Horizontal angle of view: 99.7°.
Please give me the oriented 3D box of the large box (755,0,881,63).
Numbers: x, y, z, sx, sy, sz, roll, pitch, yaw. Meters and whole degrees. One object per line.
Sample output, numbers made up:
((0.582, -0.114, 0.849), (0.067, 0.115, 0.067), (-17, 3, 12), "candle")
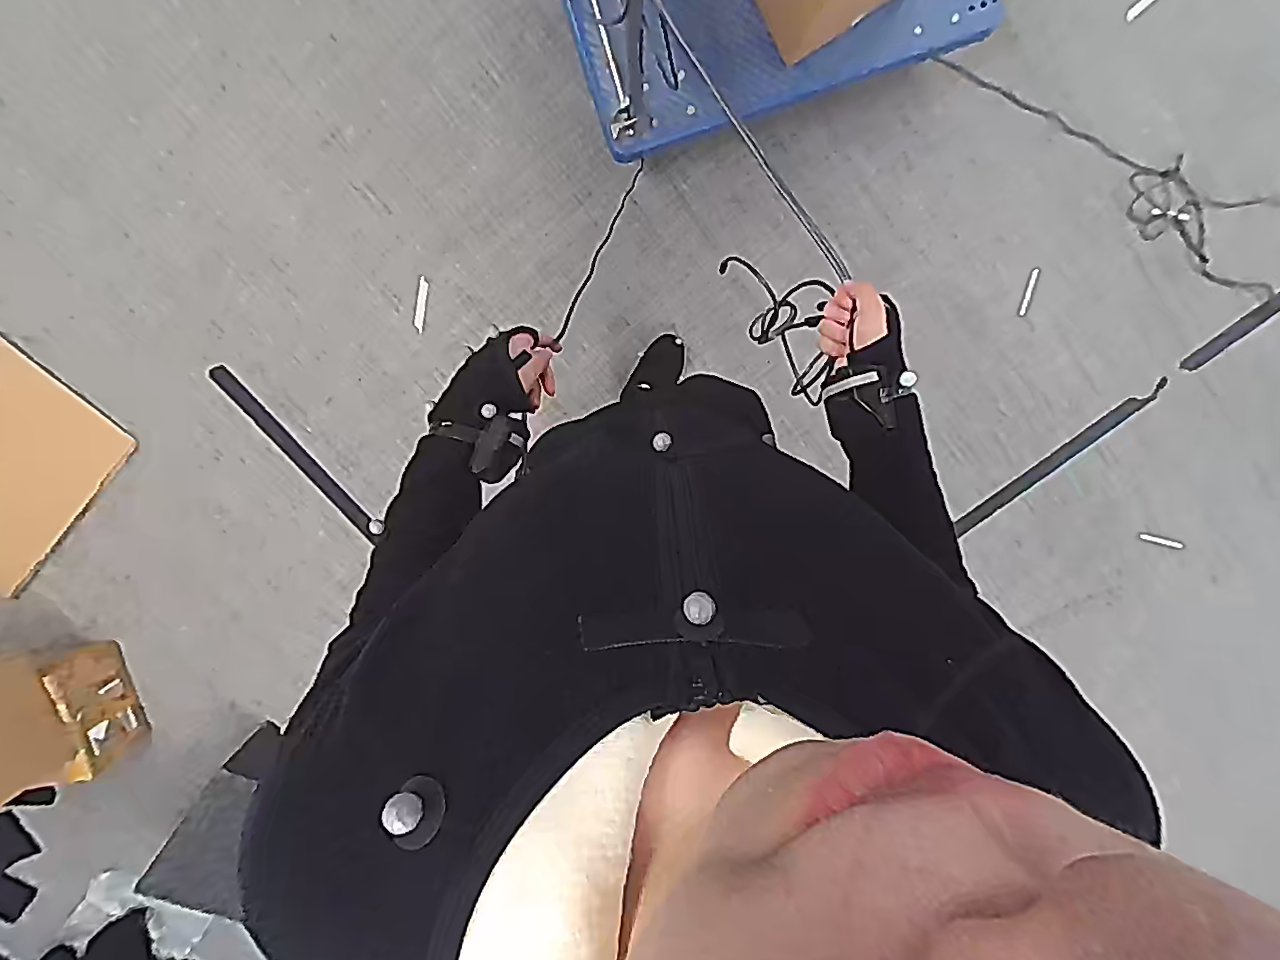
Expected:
((0.334, -1.080, 0.941), (0.320, 0.320, 0.408), (-32, 102, 6), "large box")
